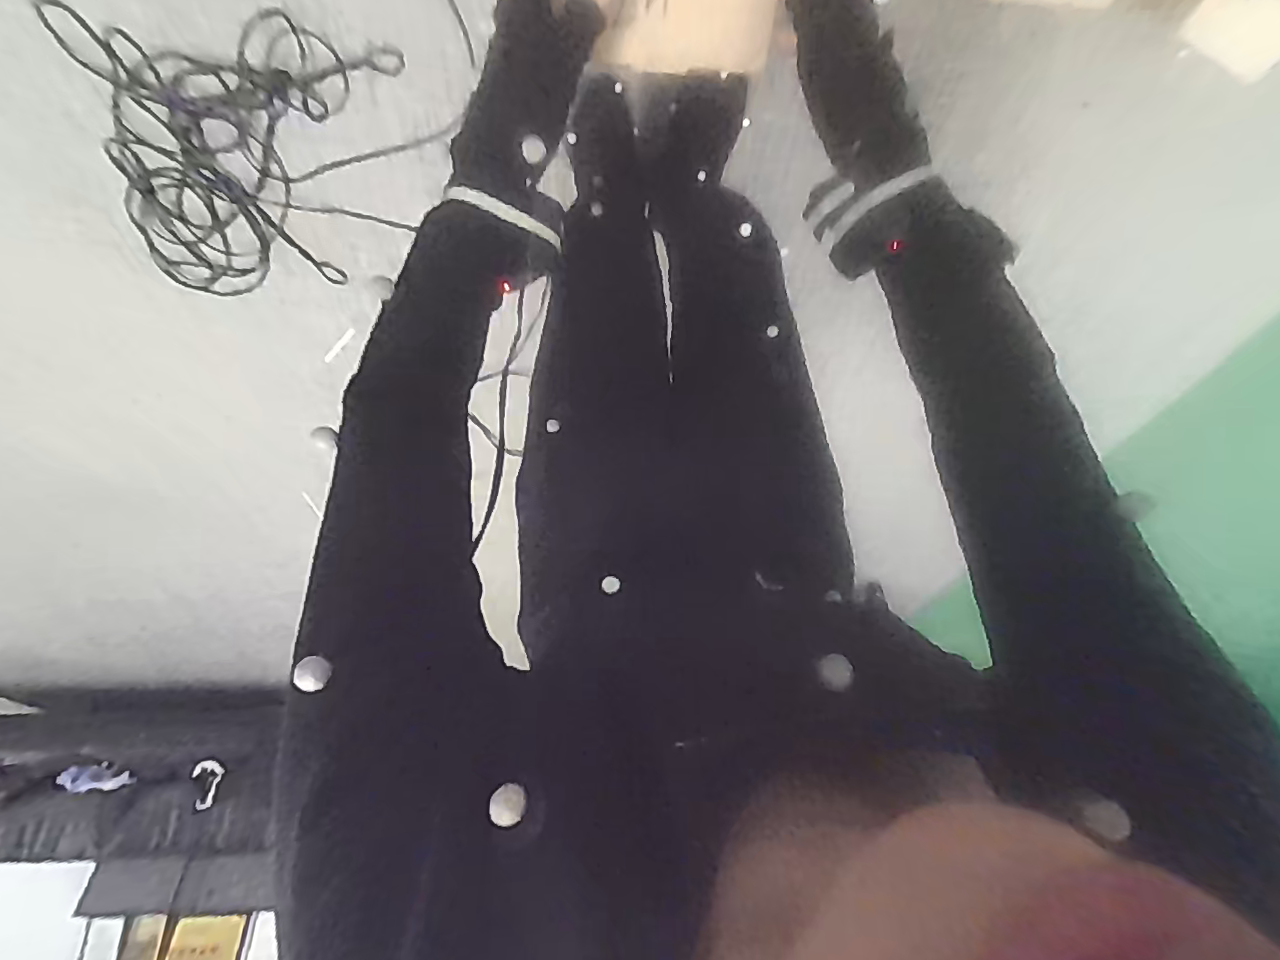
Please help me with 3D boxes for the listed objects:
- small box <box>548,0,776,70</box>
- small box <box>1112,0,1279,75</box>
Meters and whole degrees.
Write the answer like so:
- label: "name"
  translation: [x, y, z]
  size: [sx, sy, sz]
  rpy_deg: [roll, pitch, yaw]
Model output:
- label: "small box"
  translation: [0.019, -0.436, 0.396]
  size: [0.168, 0.176, 0.179]
  rpy_deg: [3, 143, -1]
- label: "small box"
  translation: [0.802, -0.695, 0.726]
  size: [0.179, 0.176, 0.168]
  rpy_deg: [11, 141, -17]
